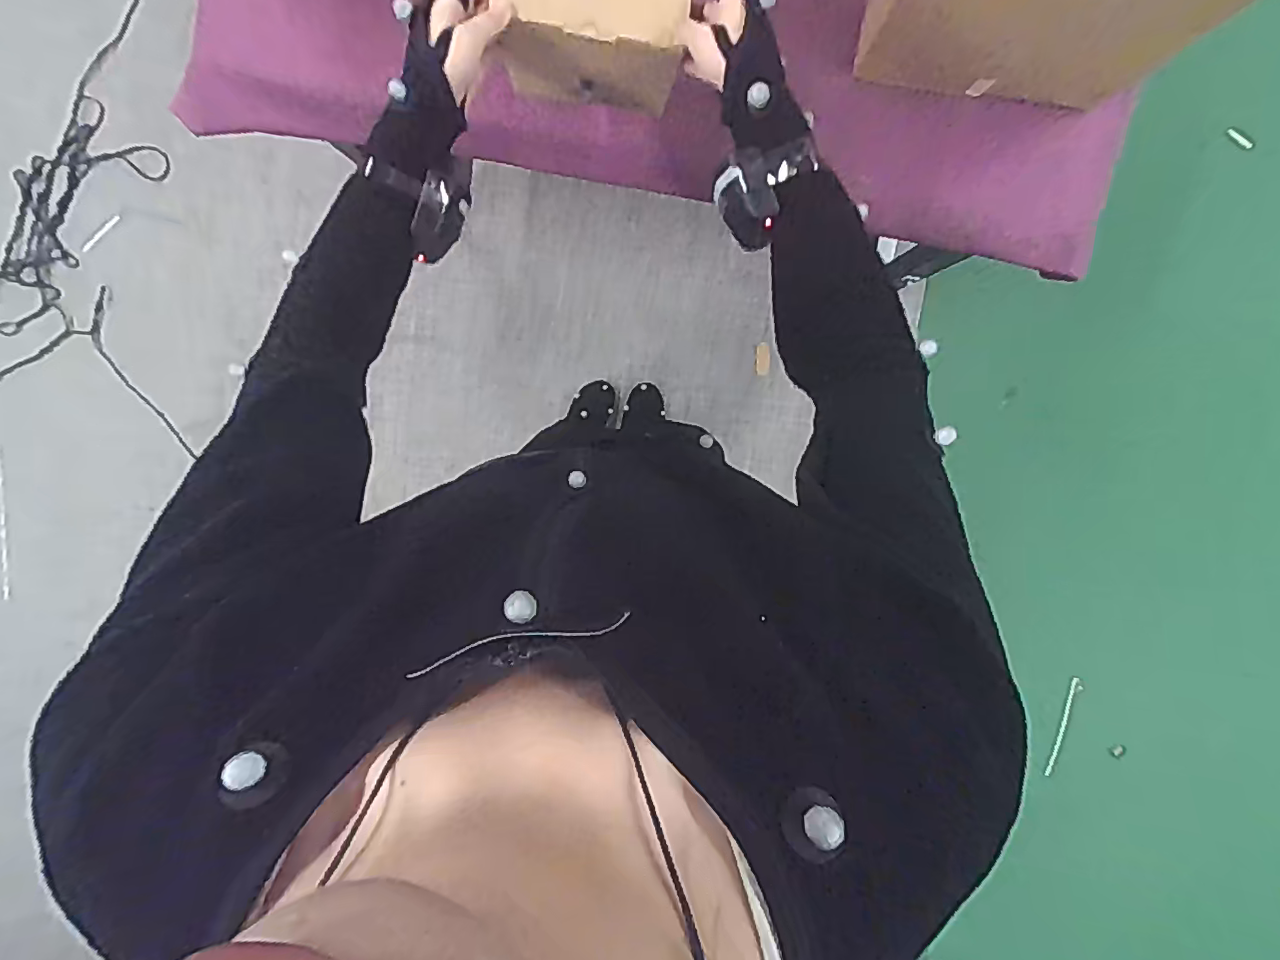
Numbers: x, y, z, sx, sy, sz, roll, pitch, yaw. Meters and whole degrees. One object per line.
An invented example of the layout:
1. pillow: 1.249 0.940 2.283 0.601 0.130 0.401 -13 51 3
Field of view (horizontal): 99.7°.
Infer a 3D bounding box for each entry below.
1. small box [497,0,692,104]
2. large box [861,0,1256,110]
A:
1. small box: -0.037 -0.486 0.497 0.168 0.176 0.179 6 108 -7
2. large box: 0.450 -0.664 0.517 0.320 0.320 0.408 9 99 3
